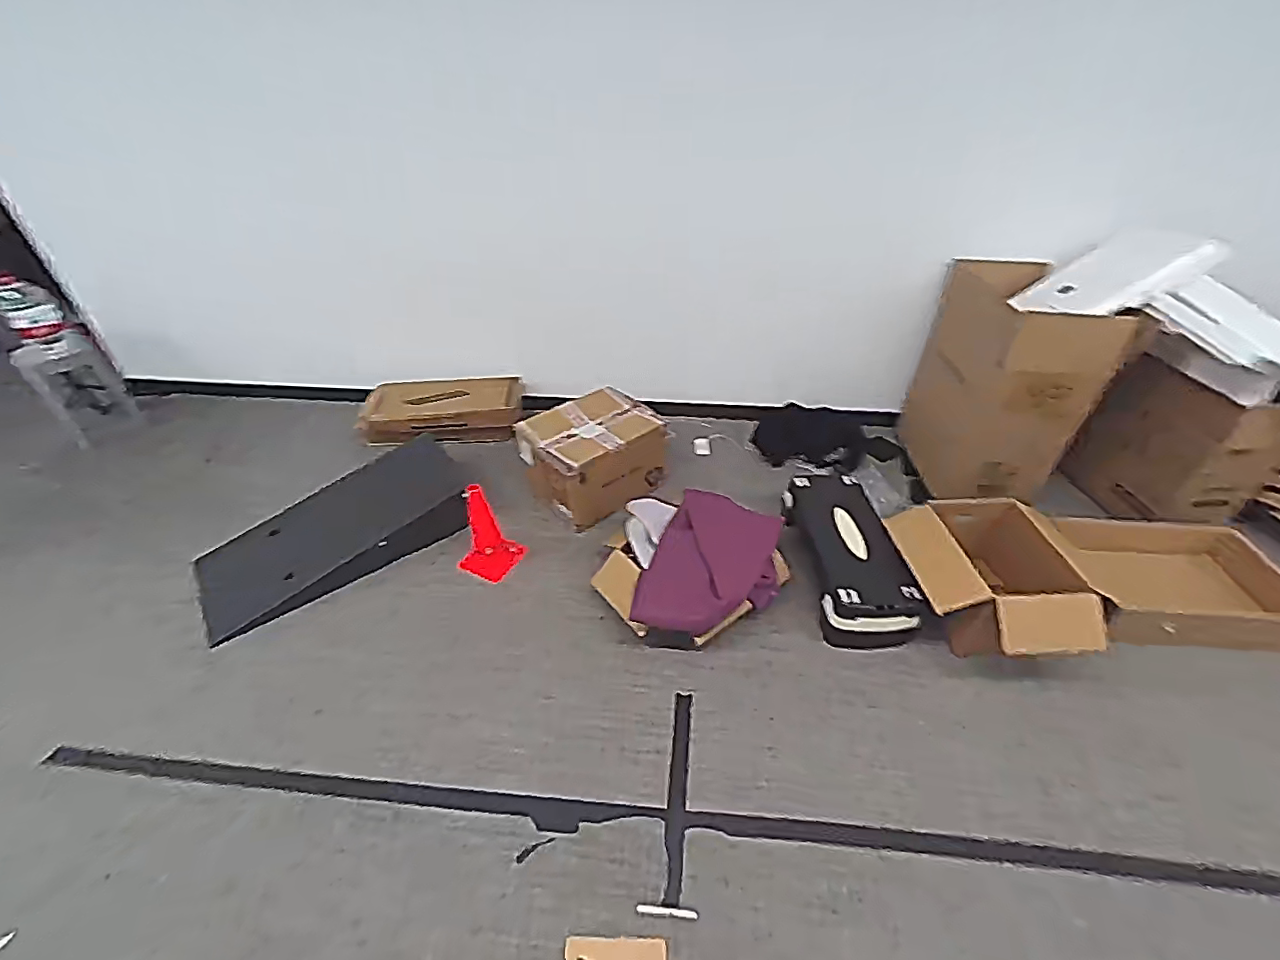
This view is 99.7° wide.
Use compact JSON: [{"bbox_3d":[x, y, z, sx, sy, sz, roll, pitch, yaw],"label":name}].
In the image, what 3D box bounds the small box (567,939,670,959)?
[{"bbox_3d":[-0.036,0.909,0.919,0.179,0.176,0.168,0,39,2],"label":"small box"}]
